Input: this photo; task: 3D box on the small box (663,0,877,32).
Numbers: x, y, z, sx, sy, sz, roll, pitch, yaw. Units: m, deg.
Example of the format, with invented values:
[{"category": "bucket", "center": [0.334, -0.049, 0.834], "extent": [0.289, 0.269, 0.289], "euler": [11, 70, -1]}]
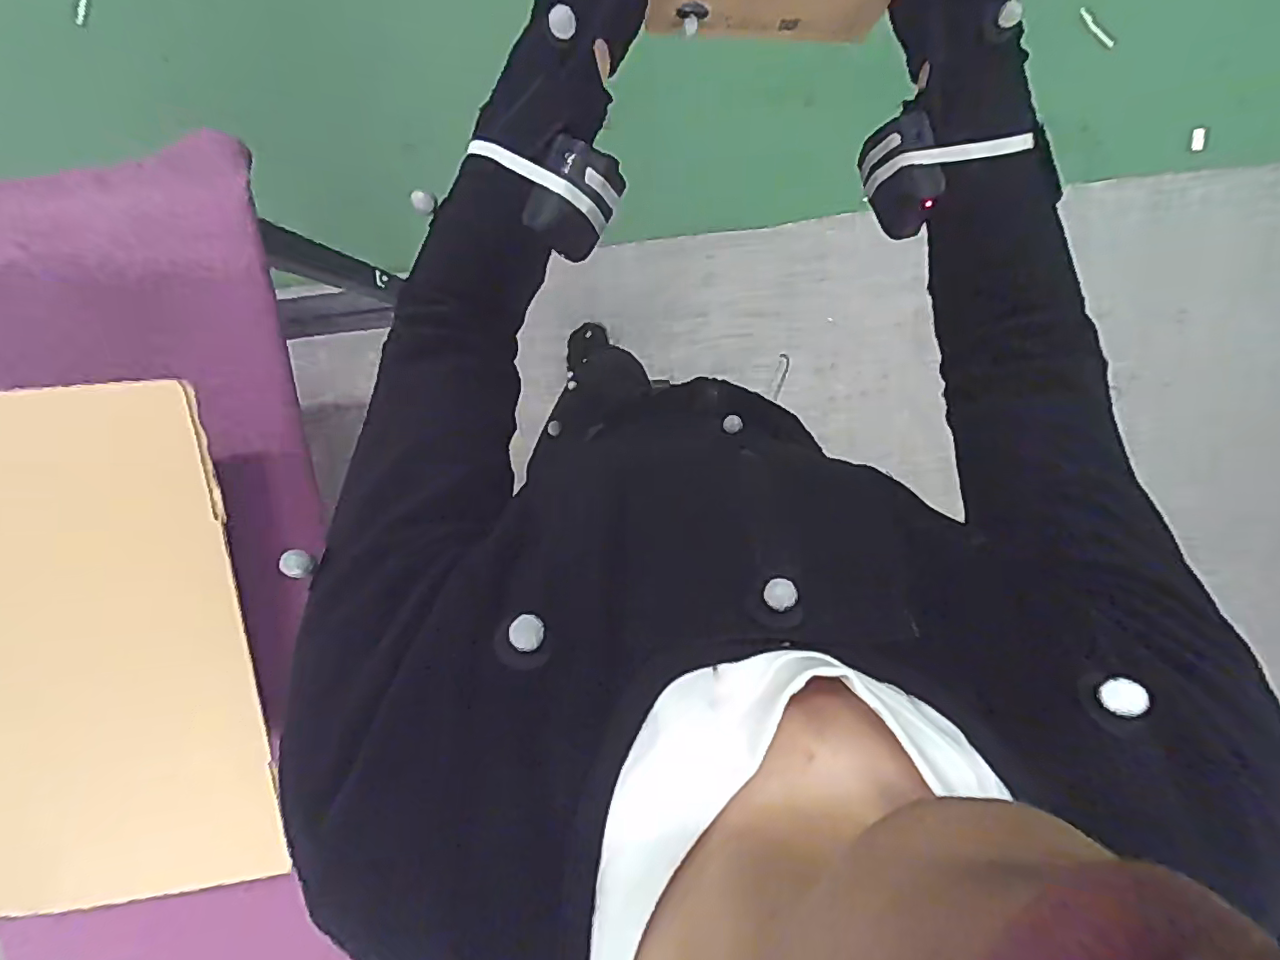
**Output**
[{"category": "small box", "center": [0.090, -0.403, 0.311], "extent": [0.168, 0.176, 0.179], "euler": [3, 102, 1]}]
